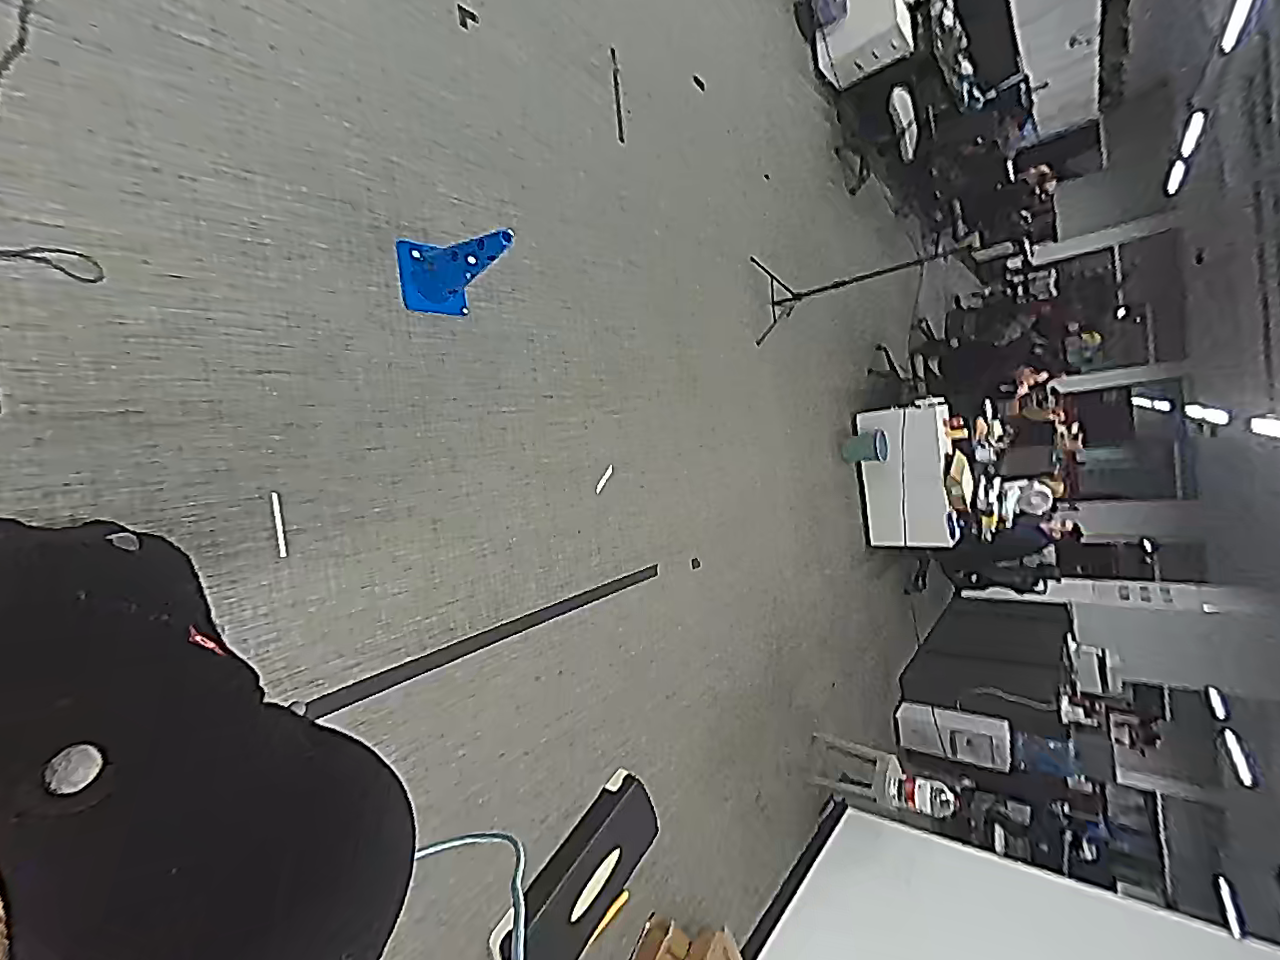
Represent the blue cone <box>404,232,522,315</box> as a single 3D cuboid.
[{"bbox_3d":[-0.459,-0.589,1.459,0.192,0.380,0.193,-8,93,-51],"label":"blue cone"}]
